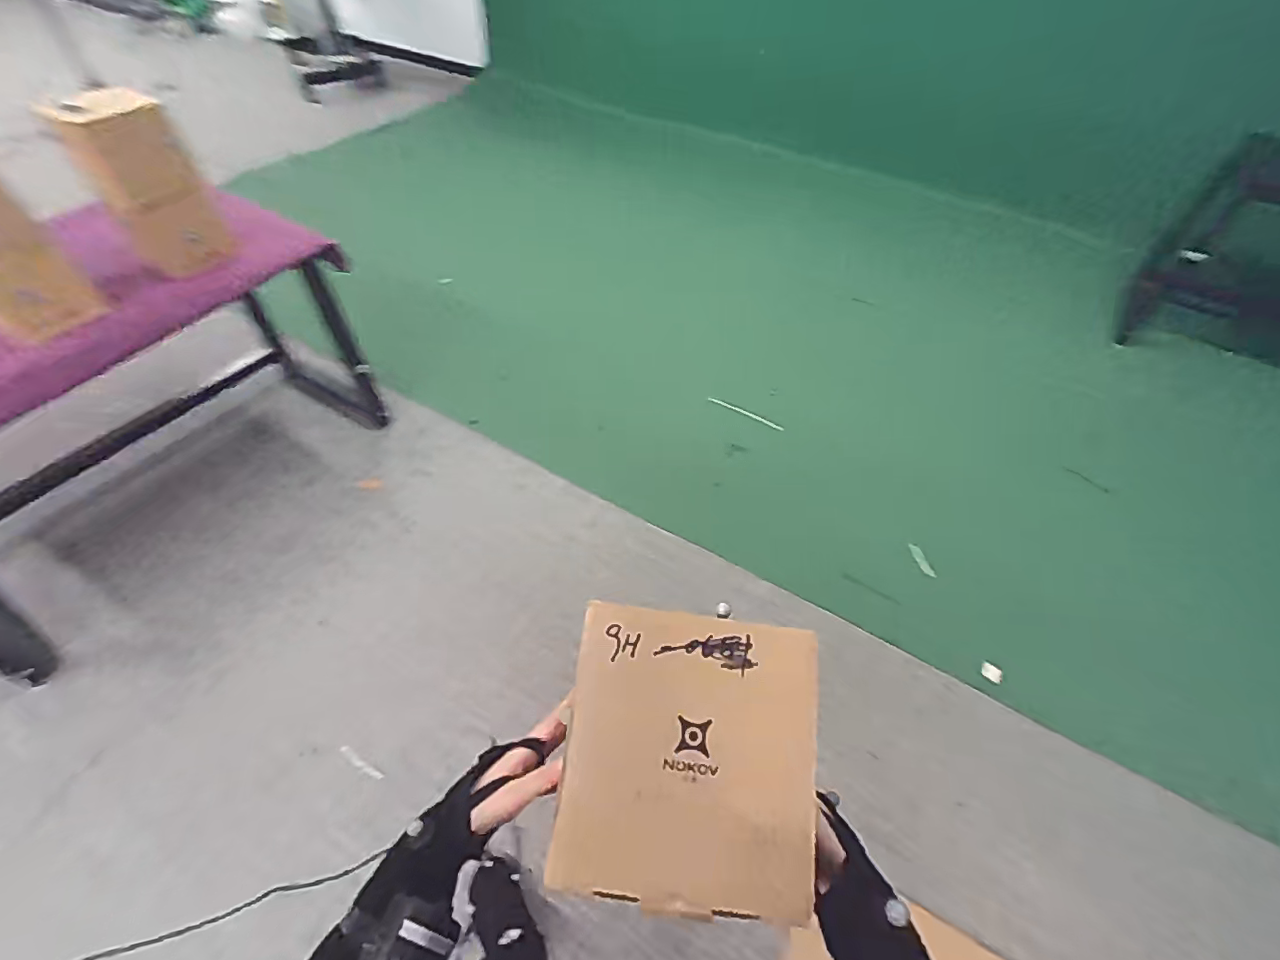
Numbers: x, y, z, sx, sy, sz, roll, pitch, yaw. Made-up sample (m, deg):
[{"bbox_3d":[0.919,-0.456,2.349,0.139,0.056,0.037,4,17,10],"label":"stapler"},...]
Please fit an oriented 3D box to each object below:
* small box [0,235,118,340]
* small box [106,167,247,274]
[{"bbox_3d":[-1.290,-0.424,1.152,0.179,0.176,0.168,25,55,18],"label":"small box"},{"bbox_3d":[-1.119,-0.629,1.320,0.179,0.176,0.168,28,55,20],"label":"small box"}]
